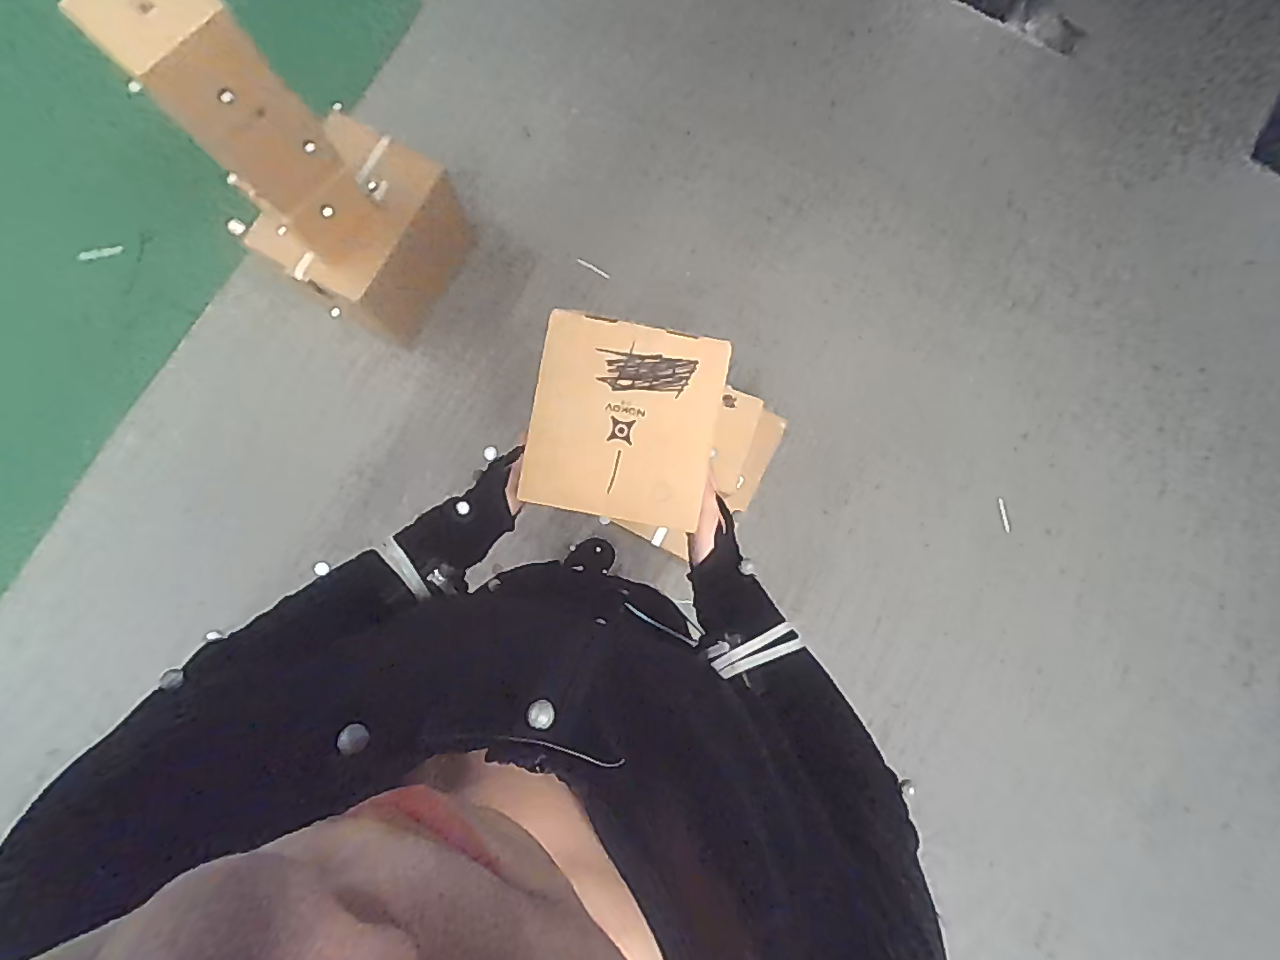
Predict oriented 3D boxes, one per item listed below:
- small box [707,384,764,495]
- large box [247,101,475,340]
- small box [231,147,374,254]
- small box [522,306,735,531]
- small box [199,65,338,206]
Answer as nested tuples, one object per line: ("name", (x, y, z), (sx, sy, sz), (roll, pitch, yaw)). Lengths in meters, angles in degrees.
("small box", (0.108, -0.080, 0.994), (0.168, 0.176, 0.179), (20, 84, 1))
("large box", (-0.698, -0.653, 1.423), (0.320, 0.320, 0.408), (28, 82, 0))
("small box", (-0.715, -0.639, 1.176), (0.168, 0.176, 0.179), (39, 84, 2))
("small box", (-0.012, -0.056, 0.559), (0.168, 0.176, 0.179), (10, 92, -1))
("small box", (-0.707, -0.667, 1.015), (0.168, 0.176, 0.179), (42, 84, 3))
